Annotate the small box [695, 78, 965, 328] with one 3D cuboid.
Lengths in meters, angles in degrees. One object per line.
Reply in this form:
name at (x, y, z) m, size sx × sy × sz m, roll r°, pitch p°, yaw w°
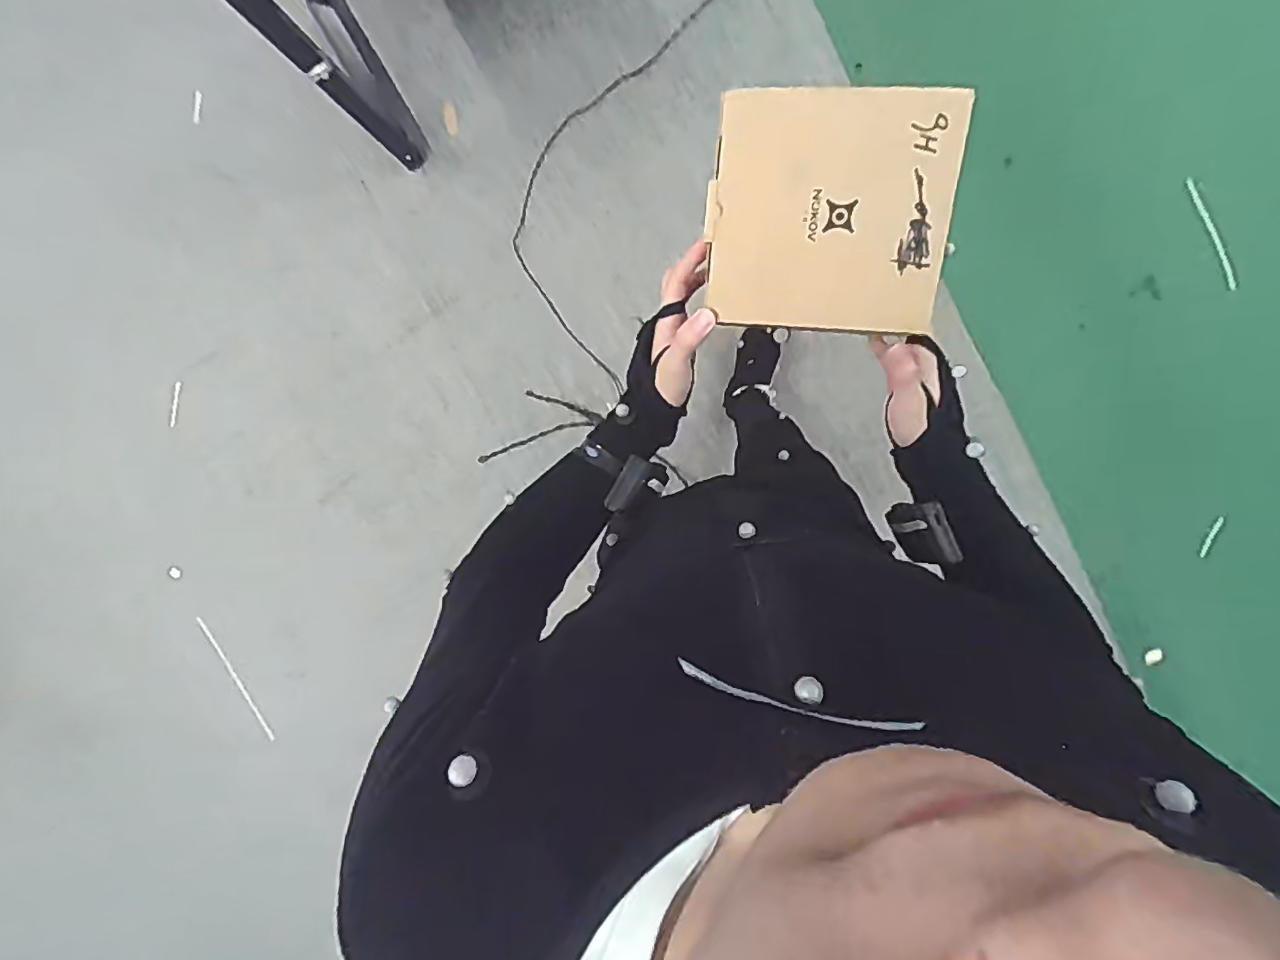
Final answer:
small box at (0.150, -0.227, 0.483) m, size 0.179 × 0.176 × 0.168 m, roll 6°, pitch 106°, yaw 9°
